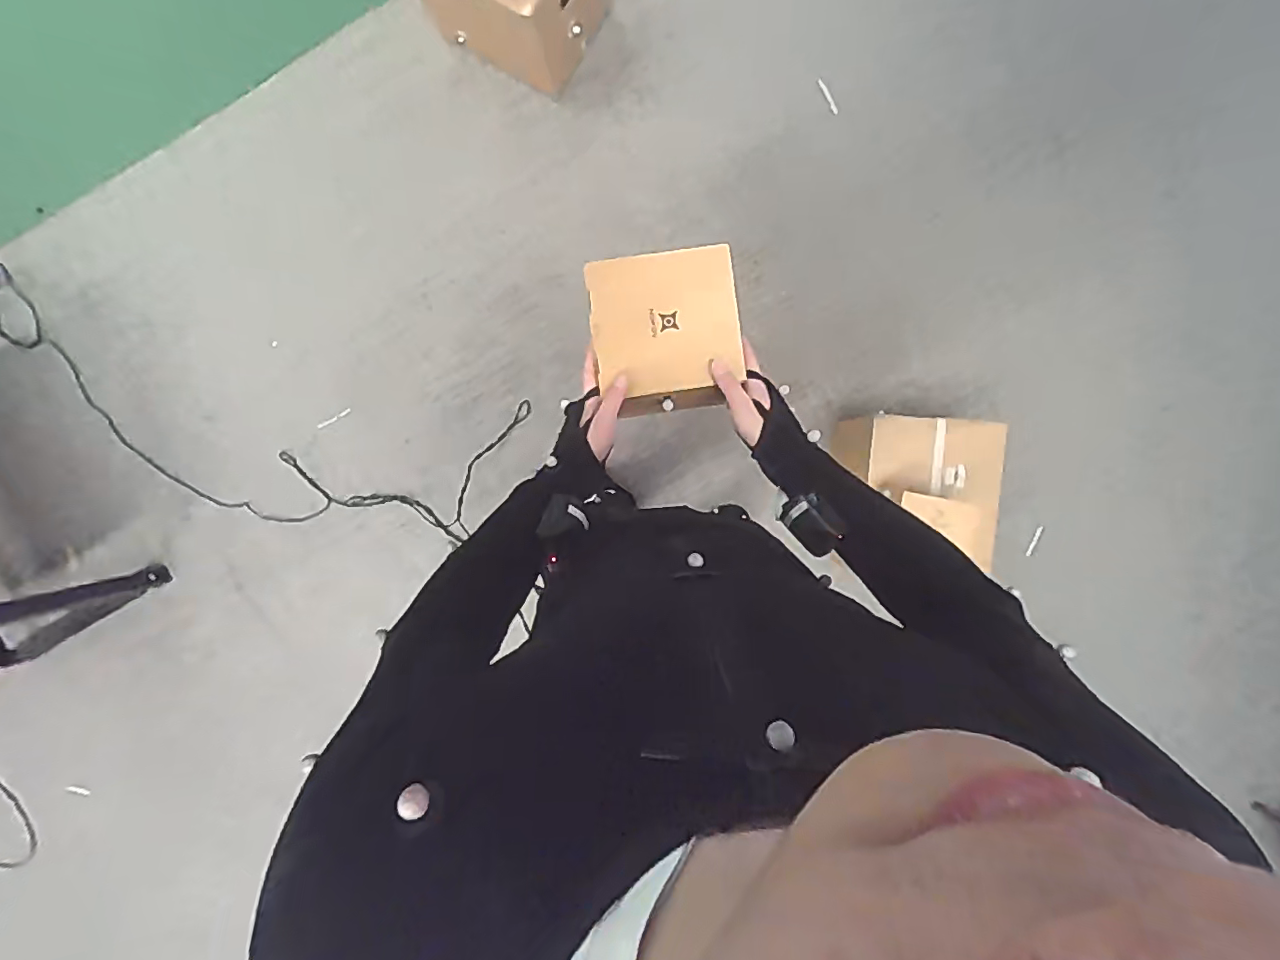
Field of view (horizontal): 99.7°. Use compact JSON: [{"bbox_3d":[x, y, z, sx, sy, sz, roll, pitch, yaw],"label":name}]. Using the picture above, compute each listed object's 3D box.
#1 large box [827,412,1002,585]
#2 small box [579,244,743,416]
[{"bbox_3d":[0.701,0.041,1.438,0.320,0.320,0.408,4,92,2],"label":"large box"},{"bbox_3d":[0.027,-0.183,0.710,0.179,0.176,0.168,-8,89,3],"label":"small box"}]
